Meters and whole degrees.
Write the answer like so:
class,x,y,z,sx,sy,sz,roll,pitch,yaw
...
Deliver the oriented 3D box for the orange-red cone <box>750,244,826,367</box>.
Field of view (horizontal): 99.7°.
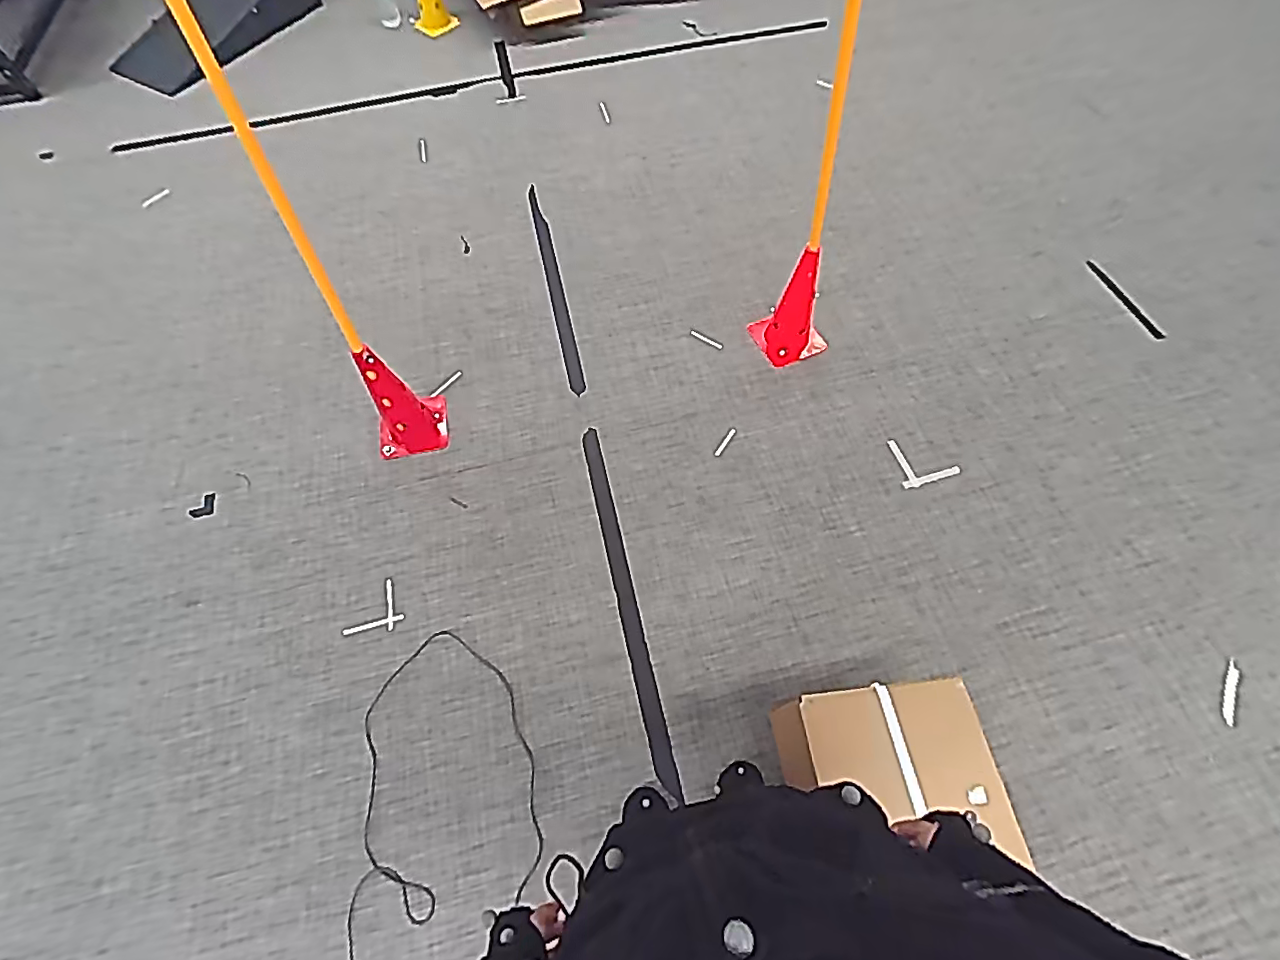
class,x,y,z,sx,sy,sz,roll,pitch,yaw
orange-red cone,0.477,-0.538,1.600,0.199,0.360,0.198,-21,65,-10
